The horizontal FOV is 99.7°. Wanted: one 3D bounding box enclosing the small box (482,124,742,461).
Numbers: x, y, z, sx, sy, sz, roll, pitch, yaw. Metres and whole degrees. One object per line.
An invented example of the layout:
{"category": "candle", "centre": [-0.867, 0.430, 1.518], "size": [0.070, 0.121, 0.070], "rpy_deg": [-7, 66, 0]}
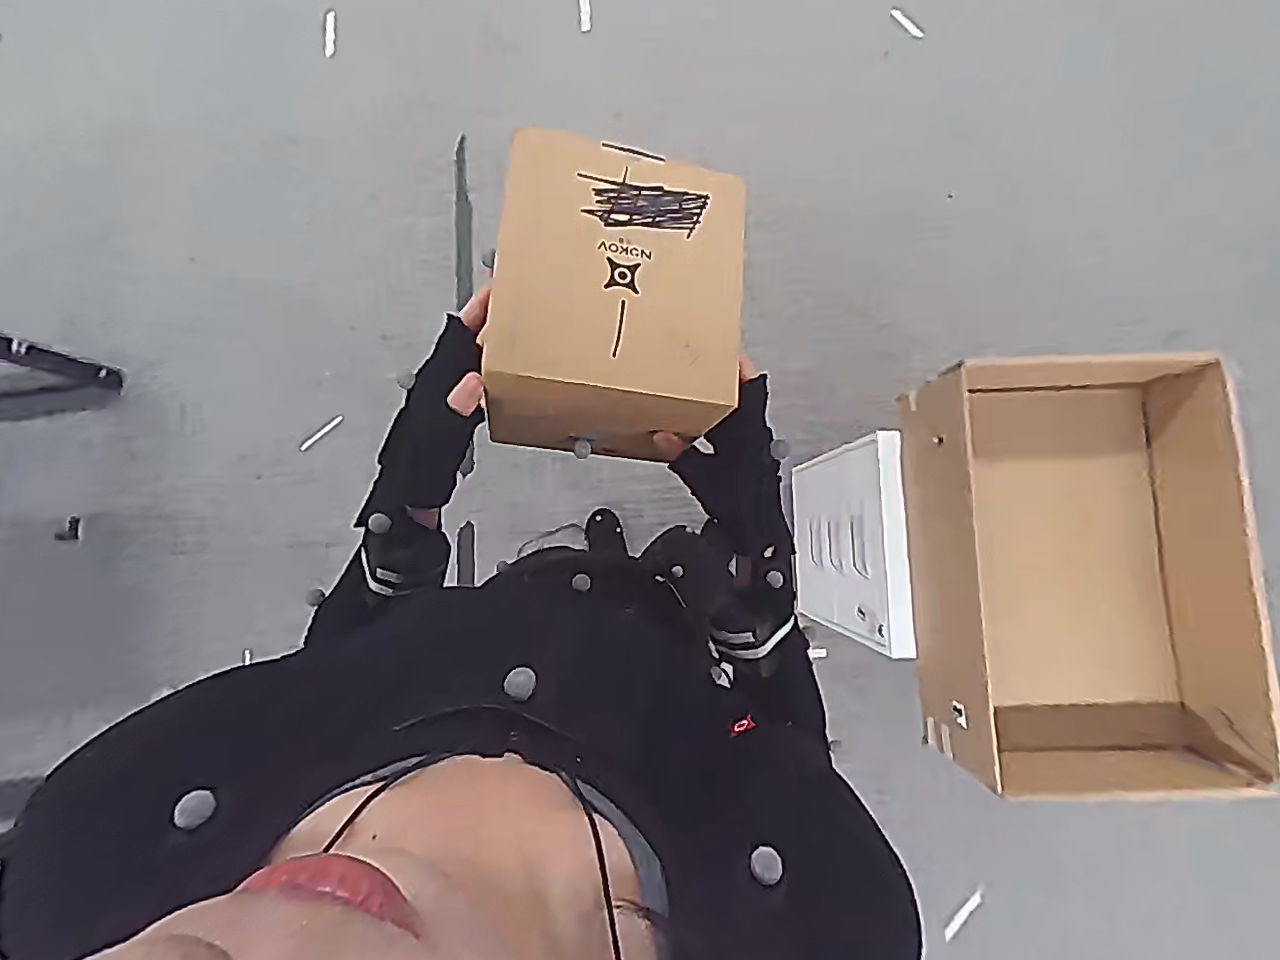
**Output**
{"category": "small box", "centre": [-0.030, -0.127, 0.428], "size": [0.168, 0.176, 0.179], "rpy_deg": [4, 75, -12]}
